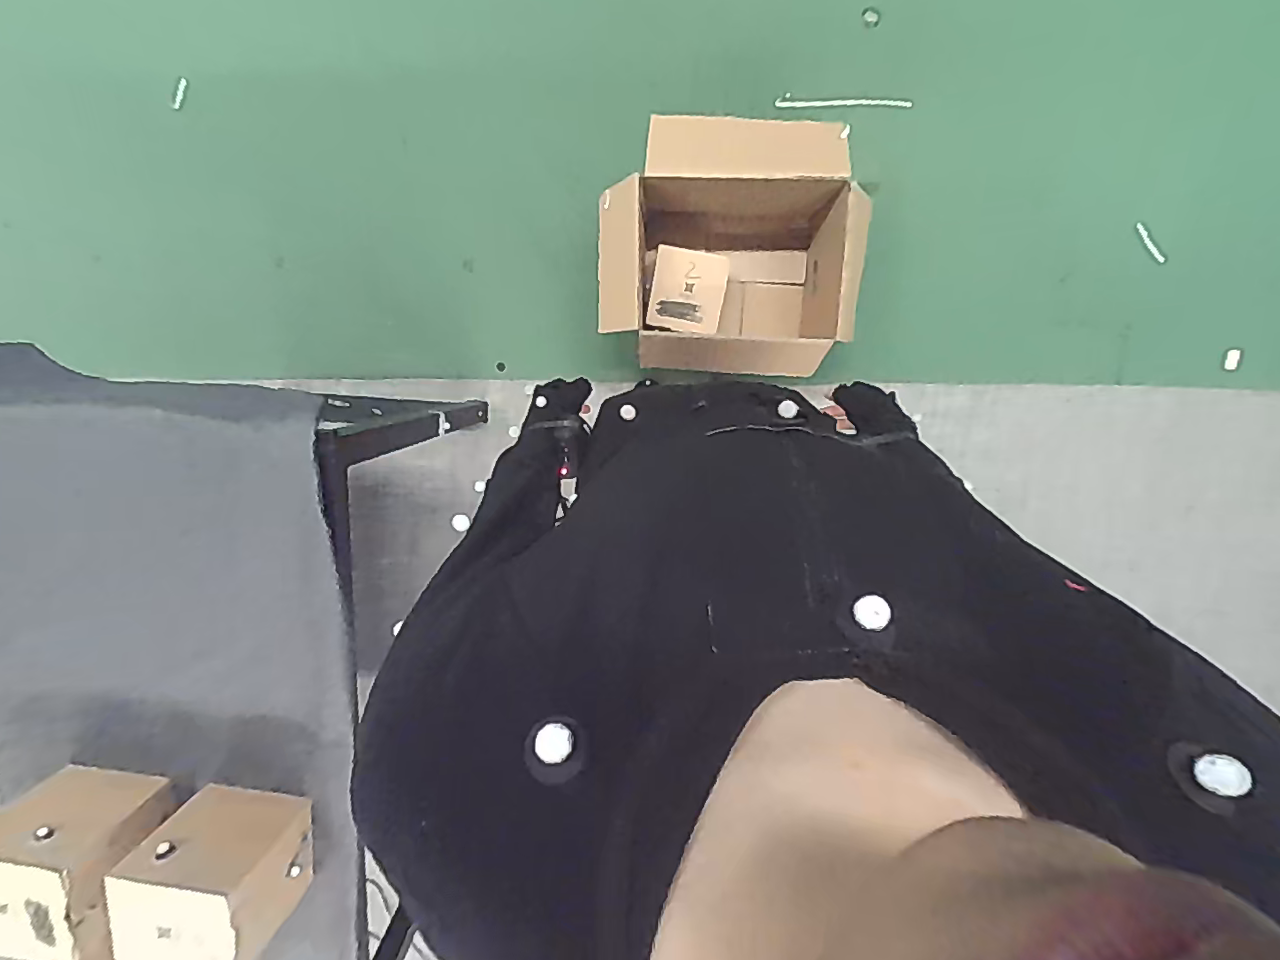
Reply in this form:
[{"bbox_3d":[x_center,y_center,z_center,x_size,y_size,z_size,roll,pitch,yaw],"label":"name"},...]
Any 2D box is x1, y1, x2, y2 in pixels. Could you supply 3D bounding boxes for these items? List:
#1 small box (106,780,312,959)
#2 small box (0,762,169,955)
[{"bbox_3d":[-0.629,0.586,0.810,0.179,0.176,0.168,7,103,1],"label":"small box"},{"bbox_3d":[-0.857,0.557,0.814,0.179,0.176,0.168,7,103,1],"label":"small box"}]
